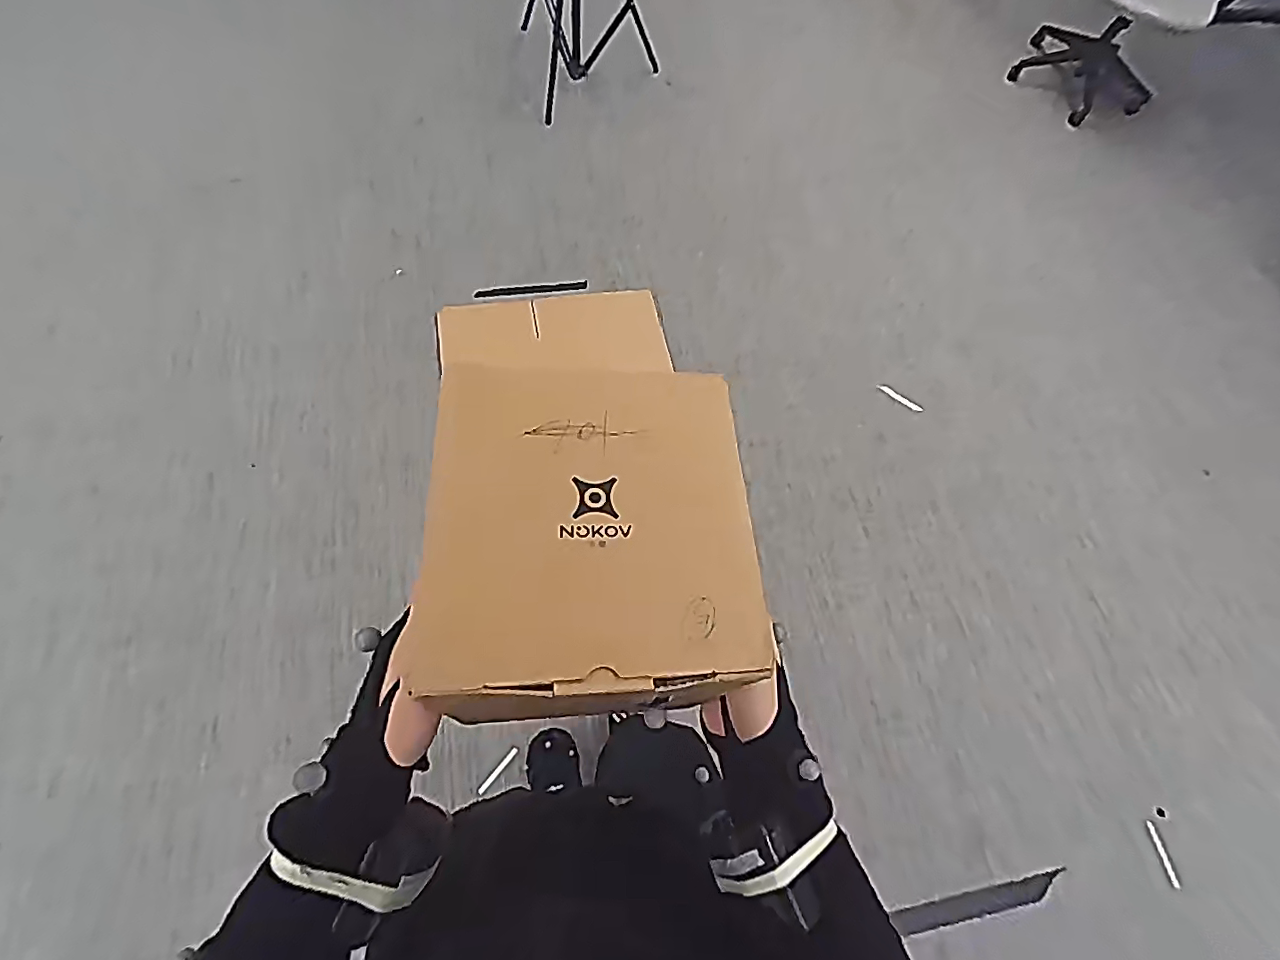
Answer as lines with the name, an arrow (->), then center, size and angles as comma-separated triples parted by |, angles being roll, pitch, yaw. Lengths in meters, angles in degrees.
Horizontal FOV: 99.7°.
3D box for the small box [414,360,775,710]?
small box -> -0.035, 0.047, 0.347 | 0.168, 0.176, 0.179 | 0, 62, -11
